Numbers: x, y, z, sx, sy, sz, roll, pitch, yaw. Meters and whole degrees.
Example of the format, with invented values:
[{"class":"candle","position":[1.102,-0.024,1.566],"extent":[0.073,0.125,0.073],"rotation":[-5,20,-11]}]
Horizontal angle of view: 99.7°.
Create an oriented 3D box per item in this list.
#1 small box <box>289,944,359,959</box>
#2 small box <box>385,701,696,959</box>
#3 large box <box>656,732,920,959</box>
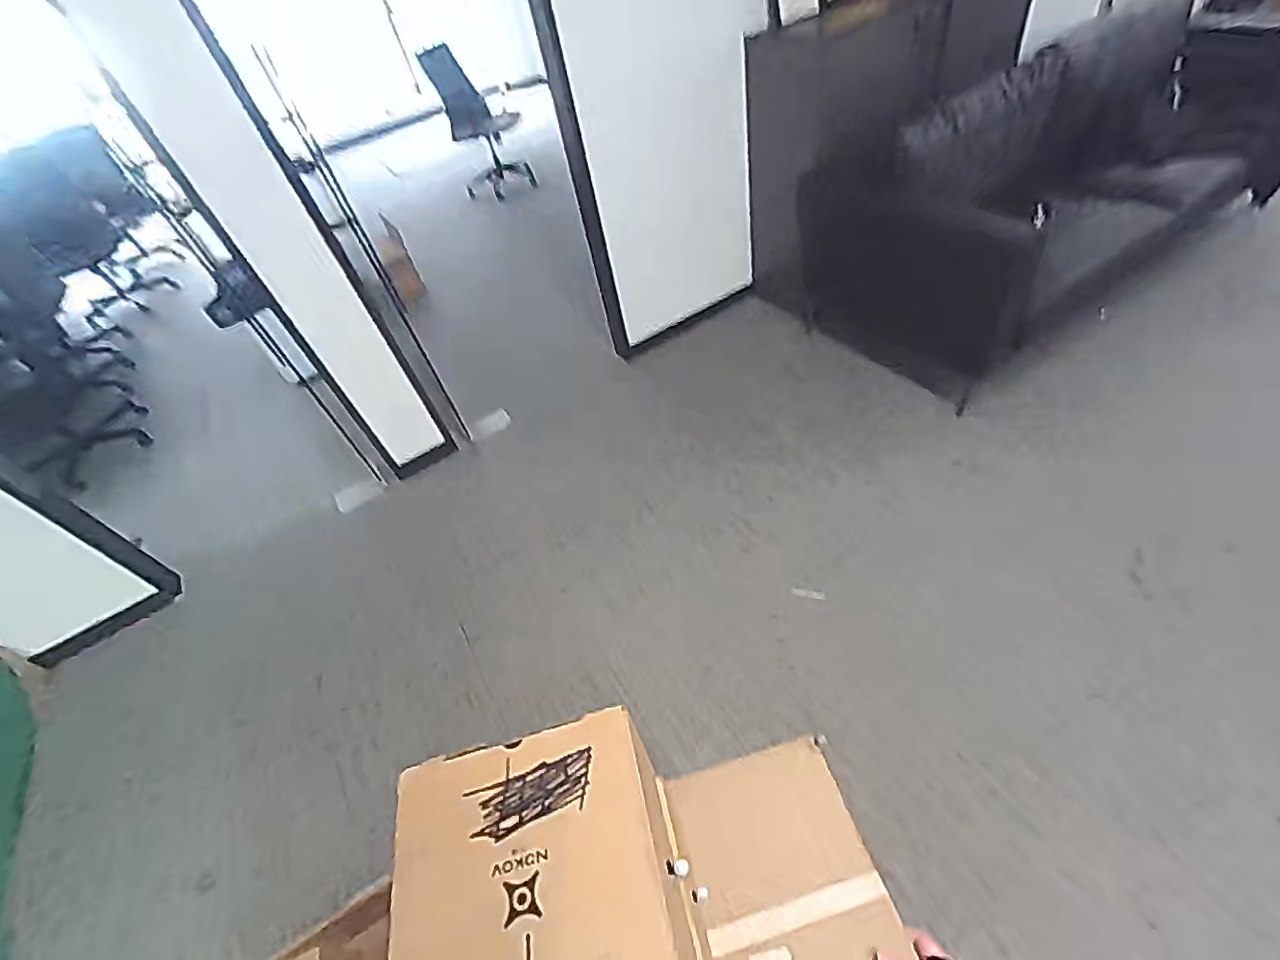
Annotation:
[{"class":"small box","position":[-0.611,0.982,0.967],"extent":[0.168,0.176,0.179],"rotation":[-22,47,-11]},{"class":"small box","position":[-0.059,0.291,0.383],"extent":[0.168,0.176,0.179],"rotation":[-15,47,-3]},{"class":"large box","position":[0.081,0.573,0.658],"extent":[0.408,0.320,0.320],"rotation":[-16,47,-5]}]
